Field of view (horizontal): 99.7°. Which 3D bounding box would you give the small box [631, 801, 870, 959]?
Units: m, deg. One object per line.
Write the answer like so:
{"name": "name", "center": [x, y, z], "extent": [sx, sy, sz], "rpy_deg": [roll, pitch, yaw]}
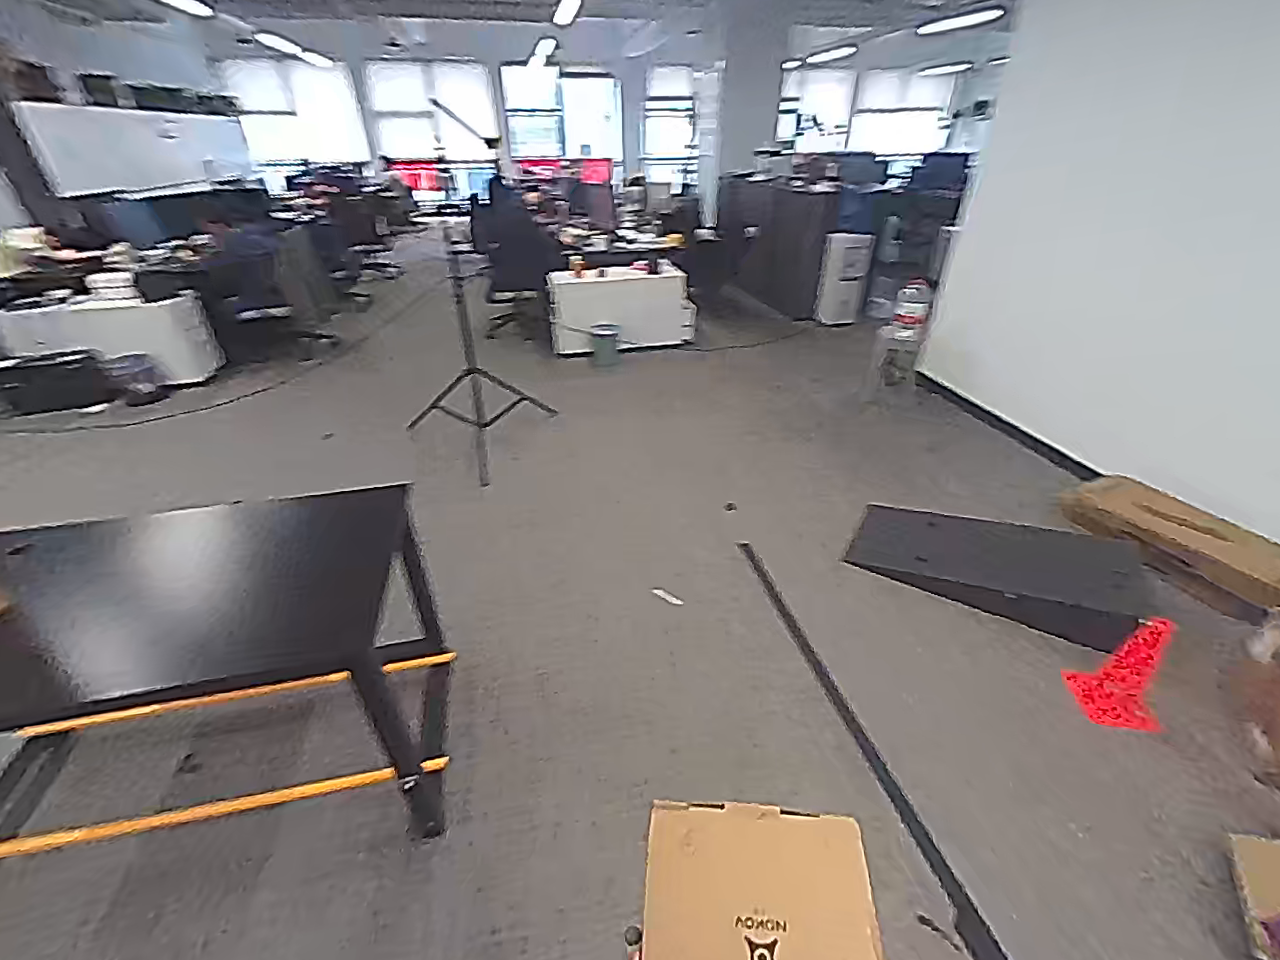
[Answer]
{"name": "small box", "center": [0.076, 0.381, 0.428], "extent": [0.168, 0.176, 0.179], "rpy_deg": [2, 45, 3]}
